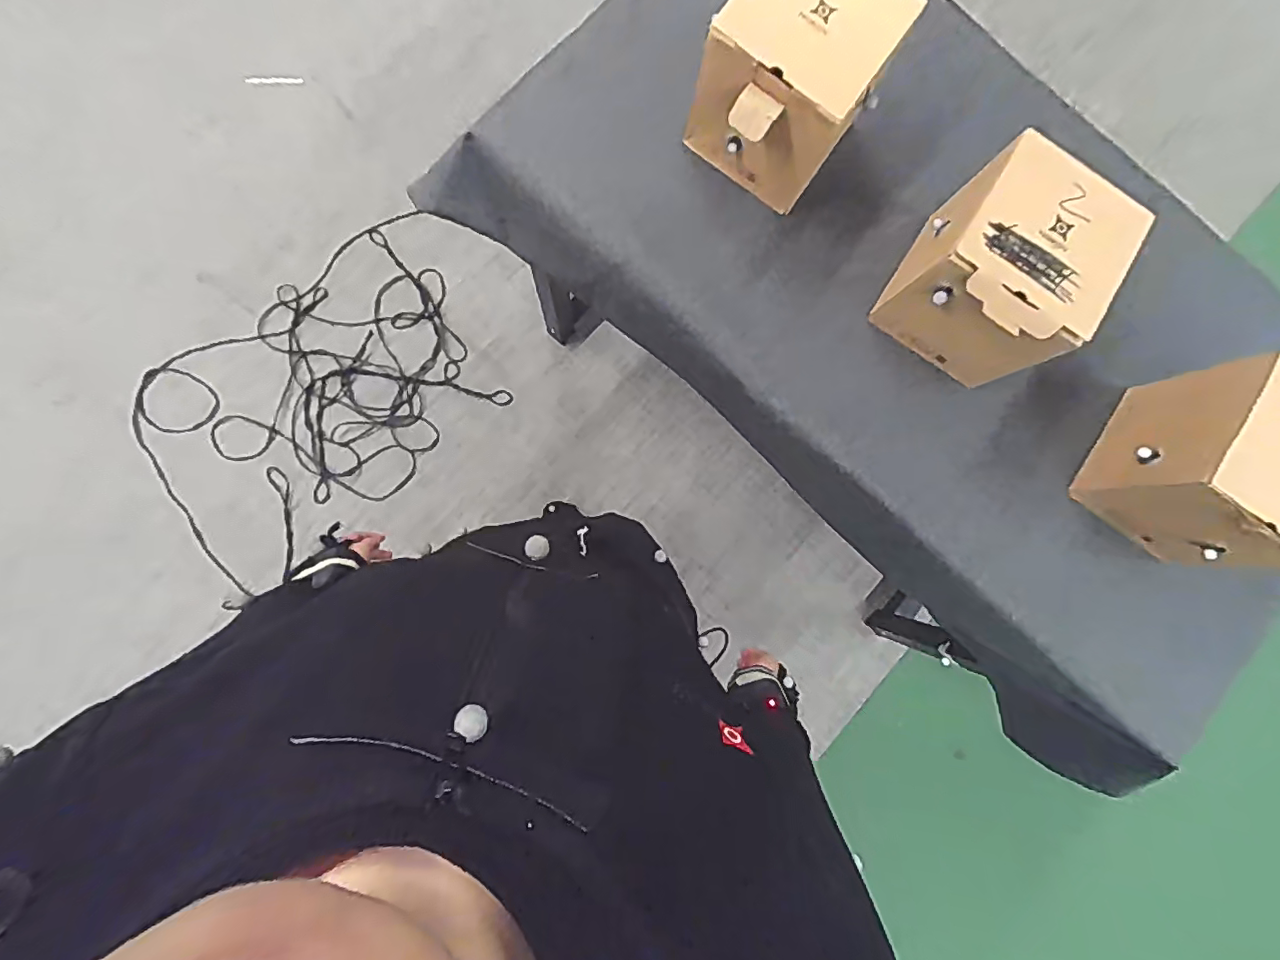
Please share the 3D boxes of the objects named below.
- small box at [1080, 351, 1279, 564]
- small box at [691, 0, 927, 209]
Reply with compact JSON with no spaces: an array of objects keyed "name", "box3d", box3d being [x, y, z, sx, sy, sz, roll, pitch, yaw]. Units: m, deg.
[{"name":"small box","box3d":[0.674,-0.012,0.631,0.168,0.176,0.179,35,82,-2]},{"name":"small box","box3d":[0.177,-0.466,0.625,0.168,0.176,0.179,35,84,-2]}]
